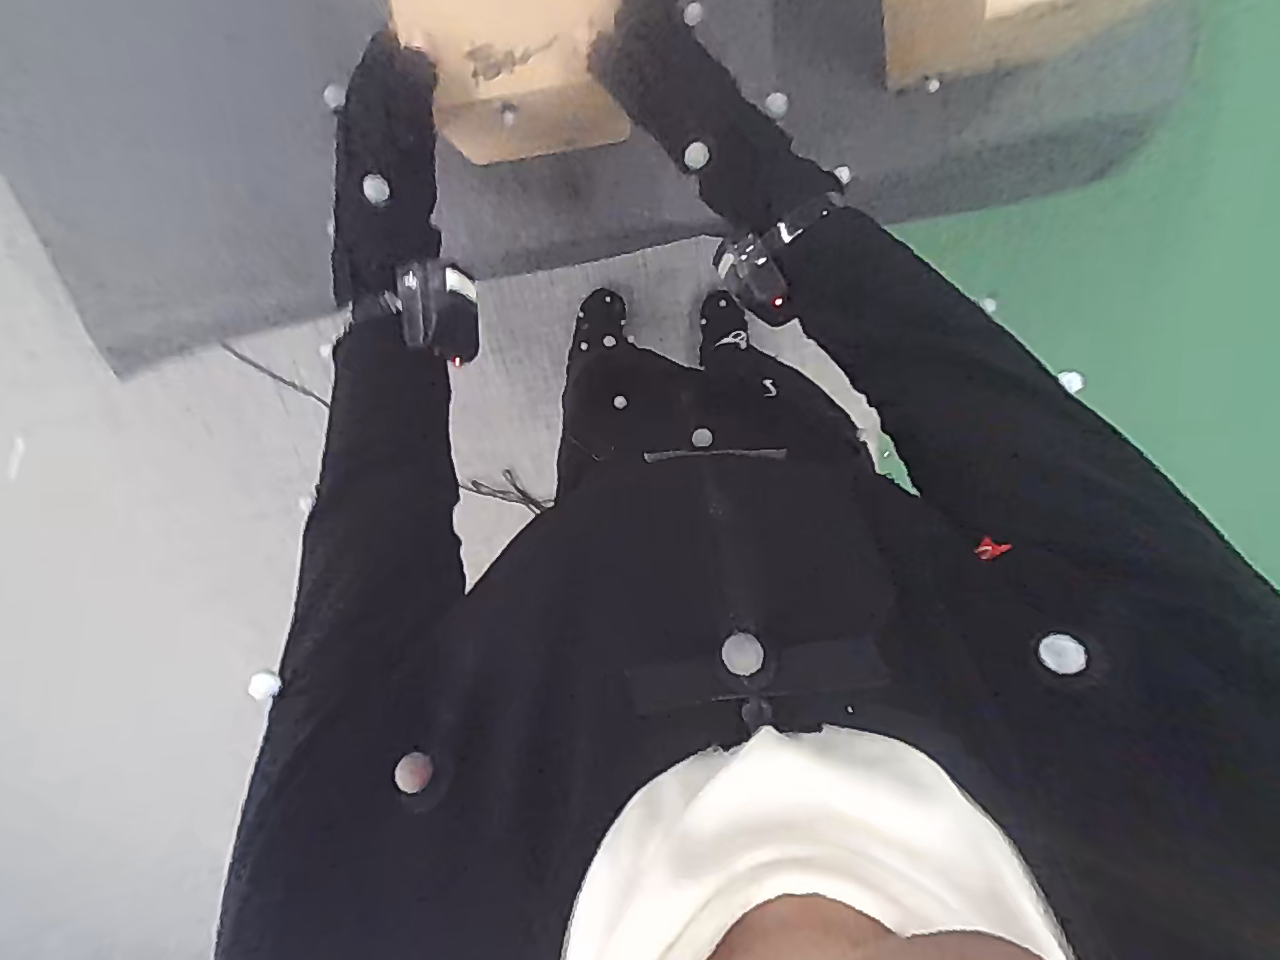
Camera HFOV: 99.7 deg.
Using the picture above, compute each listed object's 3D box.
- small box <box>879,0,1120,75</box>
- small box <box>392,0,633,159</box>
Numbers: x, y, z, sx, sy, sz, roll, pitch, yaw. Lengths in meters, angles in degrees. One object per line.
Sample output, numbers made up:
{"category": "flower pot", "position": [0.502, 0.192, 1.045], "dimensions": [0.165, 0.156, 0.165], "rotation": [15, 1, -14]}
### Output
{"category": "small box", "position": [0.311, -0.465, 0.440], "dimensions": [0.168, 0.176, 0.179], "rotation": [-11, 109, 2]}
{"category": "small box", "position": [-0.102, -0.395, 0.449], "dimensions": [0.168, 0.176, 0.179], "rotation": [-9, 109, 0]}
